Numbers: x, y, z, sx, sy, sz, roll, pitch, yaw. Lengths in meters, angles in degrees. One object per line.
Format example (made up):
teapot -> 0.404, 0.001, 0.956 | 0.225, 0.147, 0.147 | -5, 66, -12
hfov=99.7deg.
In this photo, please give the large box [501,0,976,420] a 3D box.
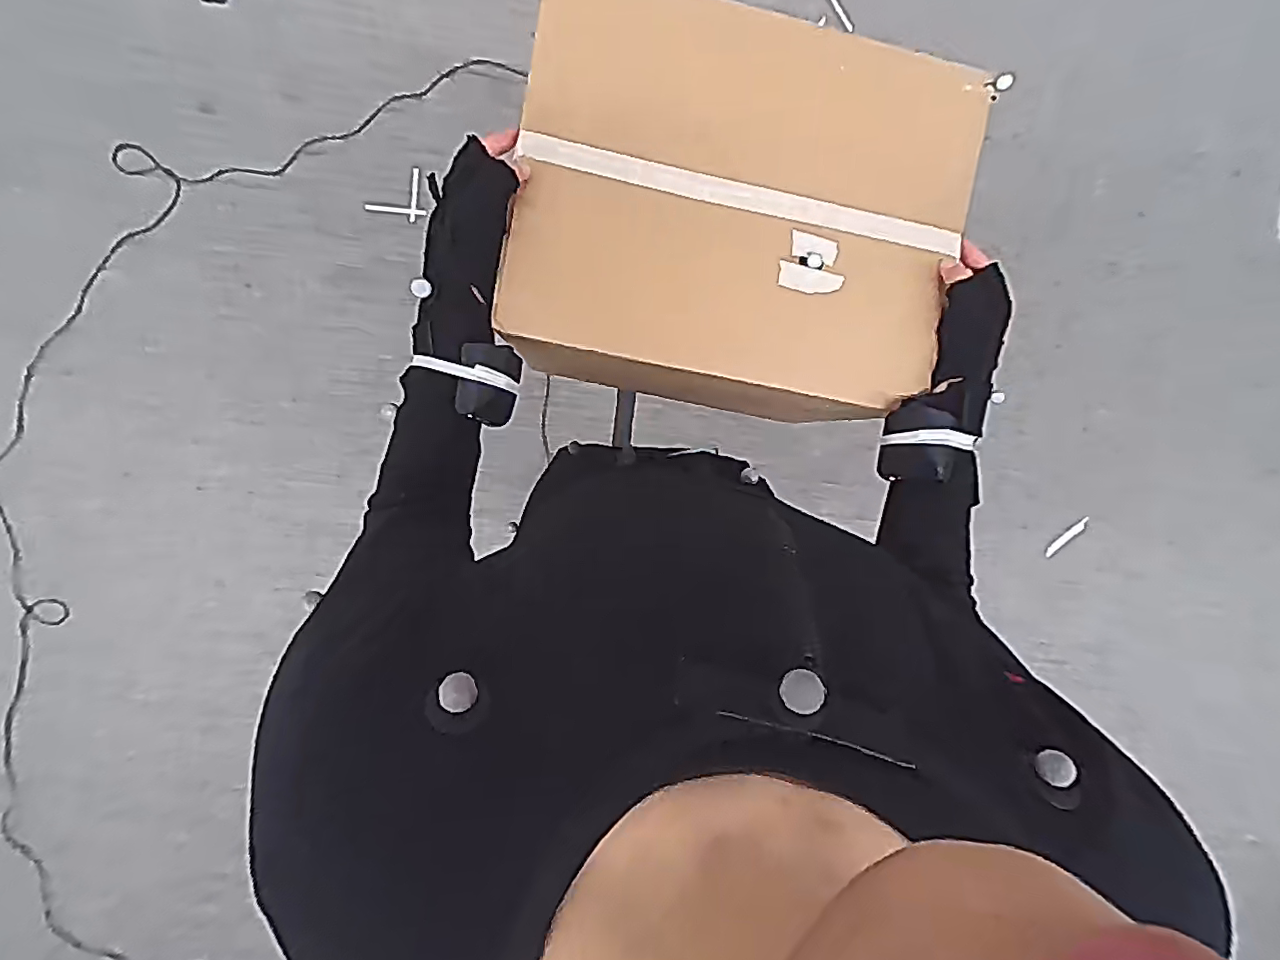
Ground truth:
large box -> 0.077, -0.259, 0.636 | 0.408, 0.320, 0.320 | 11, 95, -7
